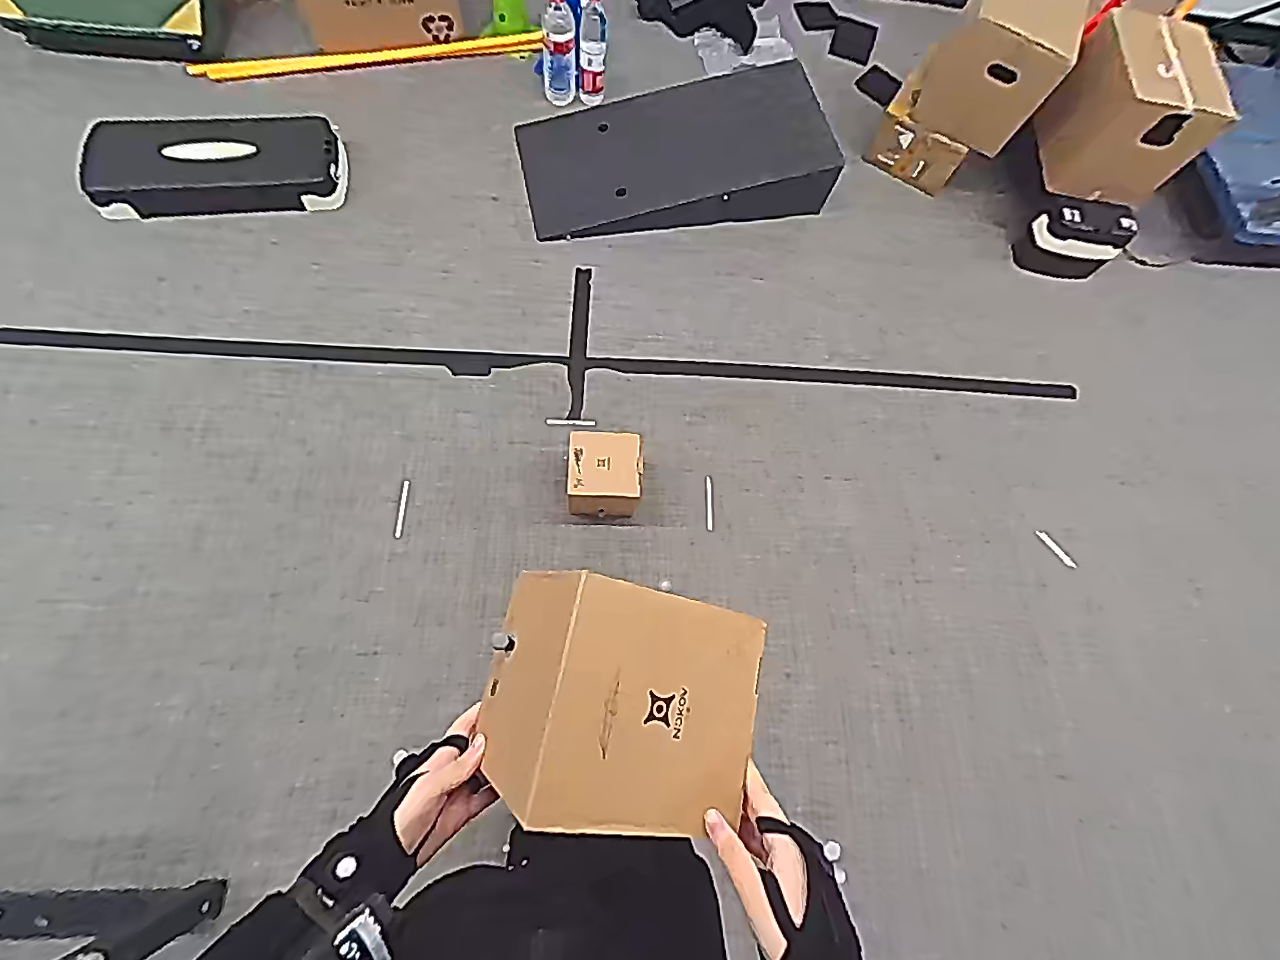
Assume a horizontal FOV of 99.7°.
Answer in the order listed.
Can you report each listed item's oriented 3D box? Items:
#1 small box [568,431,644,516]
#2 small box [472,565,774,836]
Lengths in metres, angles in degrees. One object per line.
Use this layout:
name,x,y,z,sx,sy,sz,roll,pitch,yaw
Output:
small box,-0.089,-0.009,1.367,0.179,0.176,0.168,3,70,-6
small box,-0.019,0.171,0.454,0.179,0.176,0.168,21,72,-25
